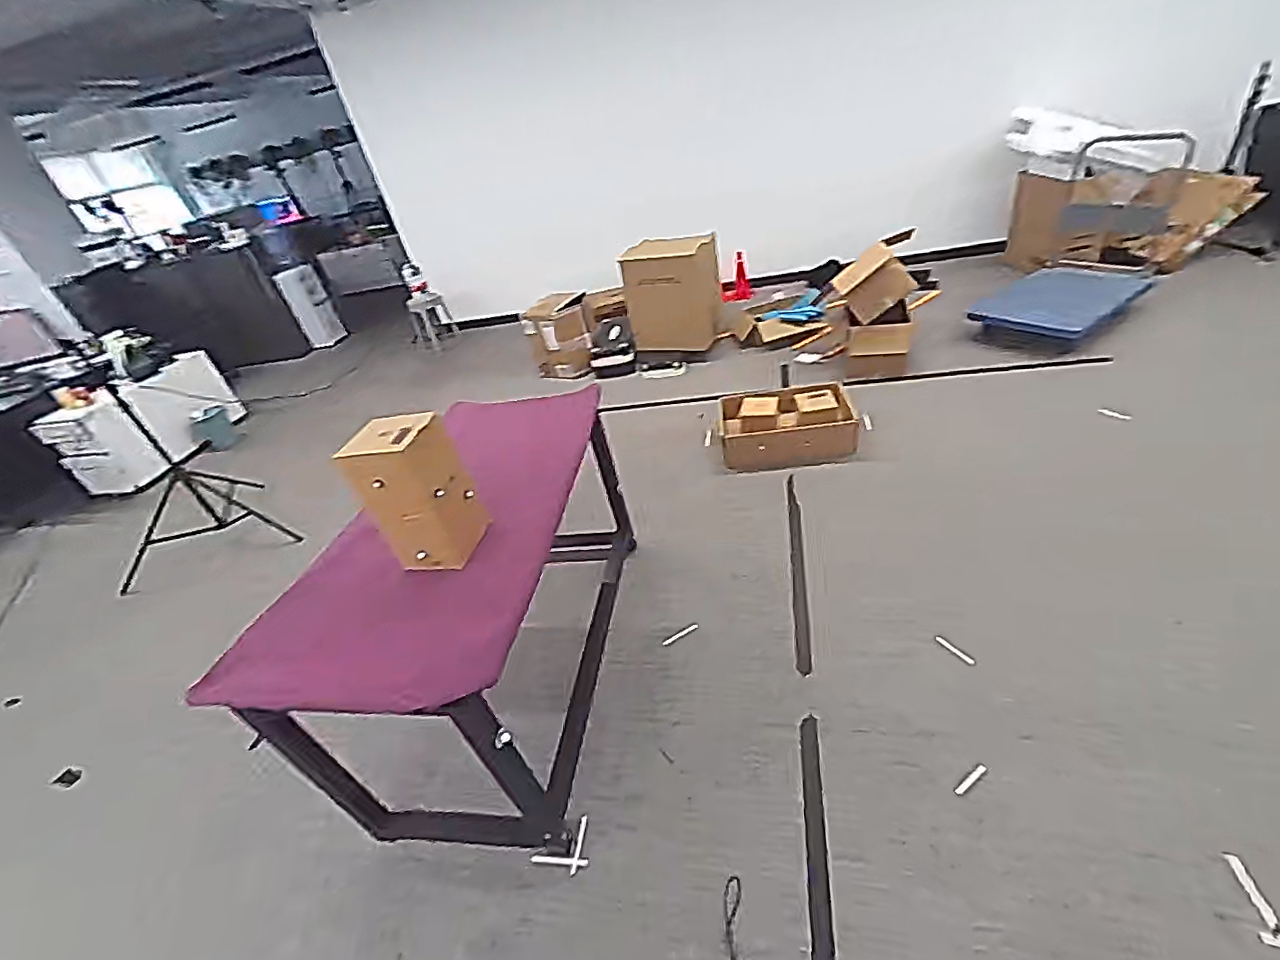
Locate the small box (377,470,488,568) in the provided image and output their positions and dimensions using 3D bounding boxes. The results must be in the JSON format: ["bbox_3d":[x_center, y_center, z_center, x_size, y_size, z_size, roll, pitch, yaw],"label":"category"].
[{"bbox_3d":[-0.494,0.096,1.324,0.168,0.176,0.179,-4,36,15],"label":"small box"}]

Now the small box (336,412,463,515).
[{"bbox_3d":[-0.535,-0.035,1.232,0.179,0.176,0.168,-5,35,14],"label":"small box"}]

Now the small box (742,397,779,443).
[{"bbox_3d":[0.600,-0.298,2.677,0.168,0.176,0.179,1,37,18],"label":"small box"}]
